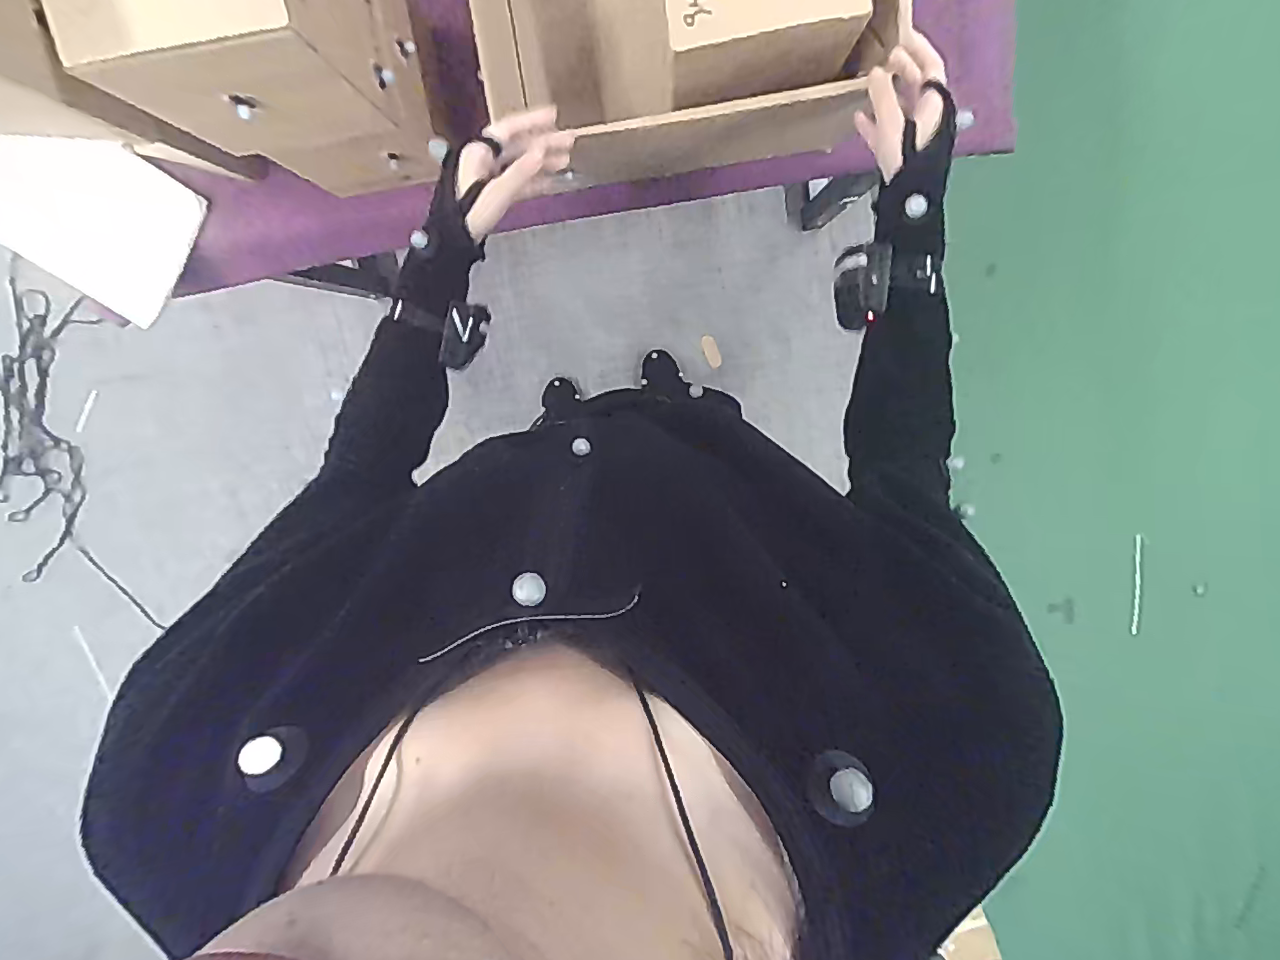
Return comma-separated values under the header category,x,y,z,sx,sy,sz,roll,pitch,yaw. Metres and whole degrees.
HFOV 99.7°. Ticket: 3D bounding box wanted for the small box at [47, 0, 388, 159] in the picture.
category,x,y,z,sx,sy,sz,roll,pitch,yaw
small box,-0.335,-0.396,0.449,0.179,0.176,0.168,-8,101,3
